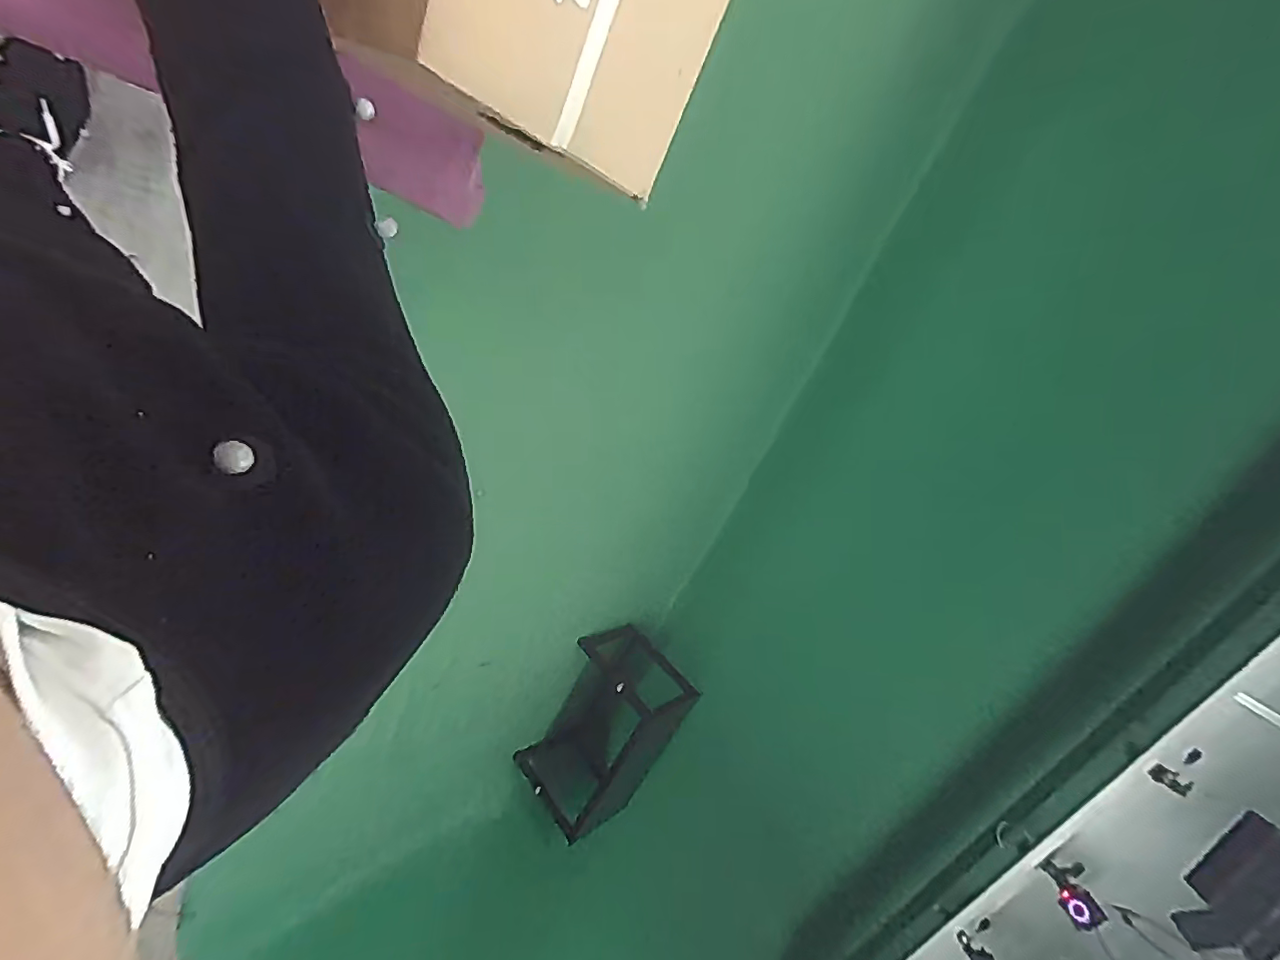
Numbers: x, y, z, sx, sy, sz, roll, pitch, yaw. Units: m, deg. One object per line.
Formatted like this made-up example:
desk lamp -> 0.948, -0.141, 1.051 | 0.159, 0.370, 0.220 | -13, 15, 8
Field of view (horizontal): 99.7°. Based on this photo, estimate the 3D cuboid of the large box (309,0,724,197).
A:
large box -> -0.107, -0.607, 0.581 | 0.320, 0.320, 0.408 | 0, 124, -50
